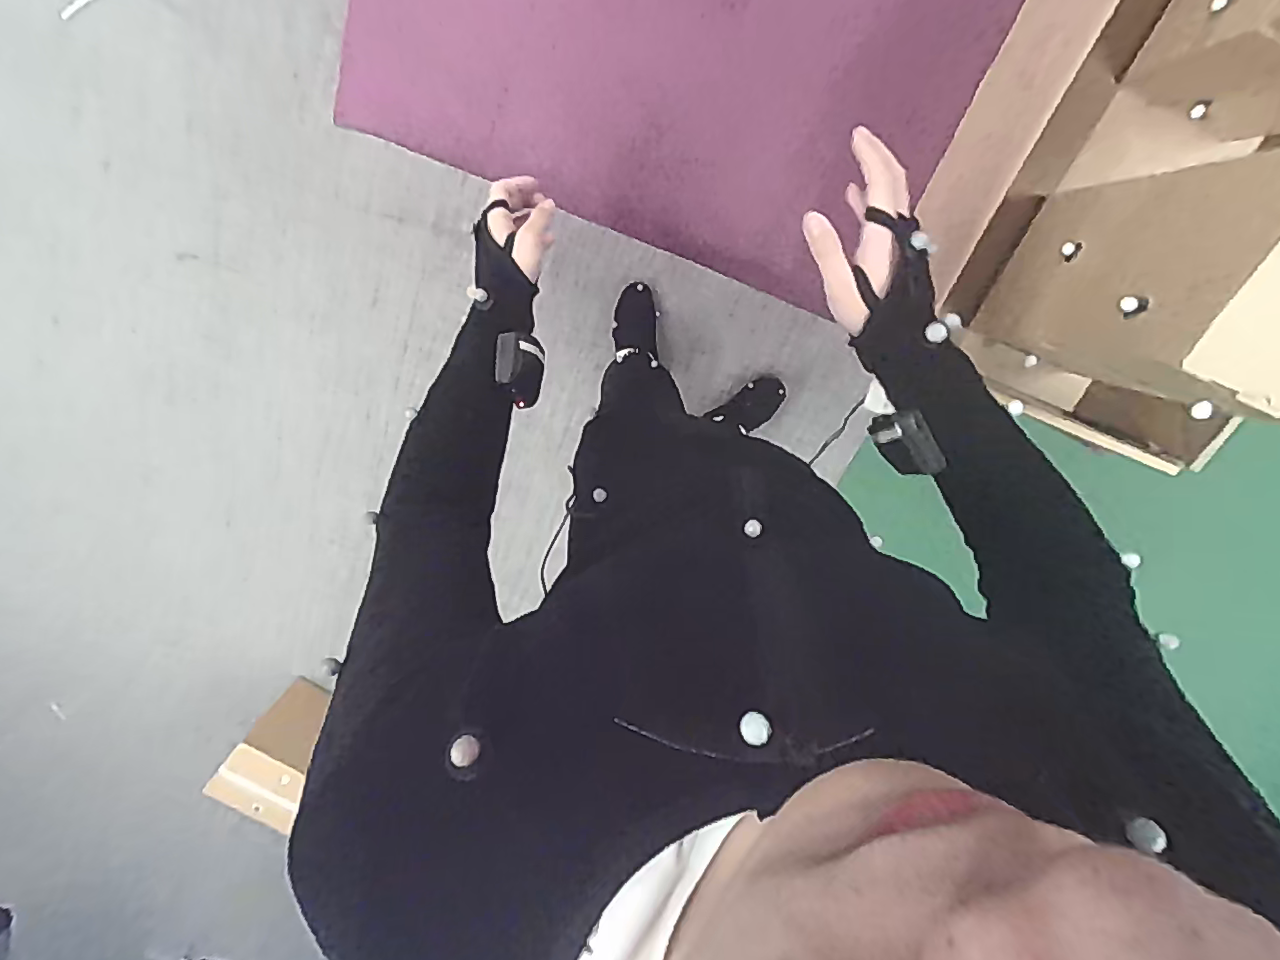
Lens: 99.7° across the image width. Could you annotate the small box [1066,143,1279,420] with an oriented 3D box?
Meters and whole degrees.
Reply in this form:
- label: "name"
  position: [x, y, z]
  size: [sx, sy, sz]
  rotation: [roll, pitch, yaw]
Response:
- label: "small box"
  position: [0.536, -0.166, 0.478]
  size: [0.168, 0.176, 0.179]
  rotation: [22, 110, -5]
